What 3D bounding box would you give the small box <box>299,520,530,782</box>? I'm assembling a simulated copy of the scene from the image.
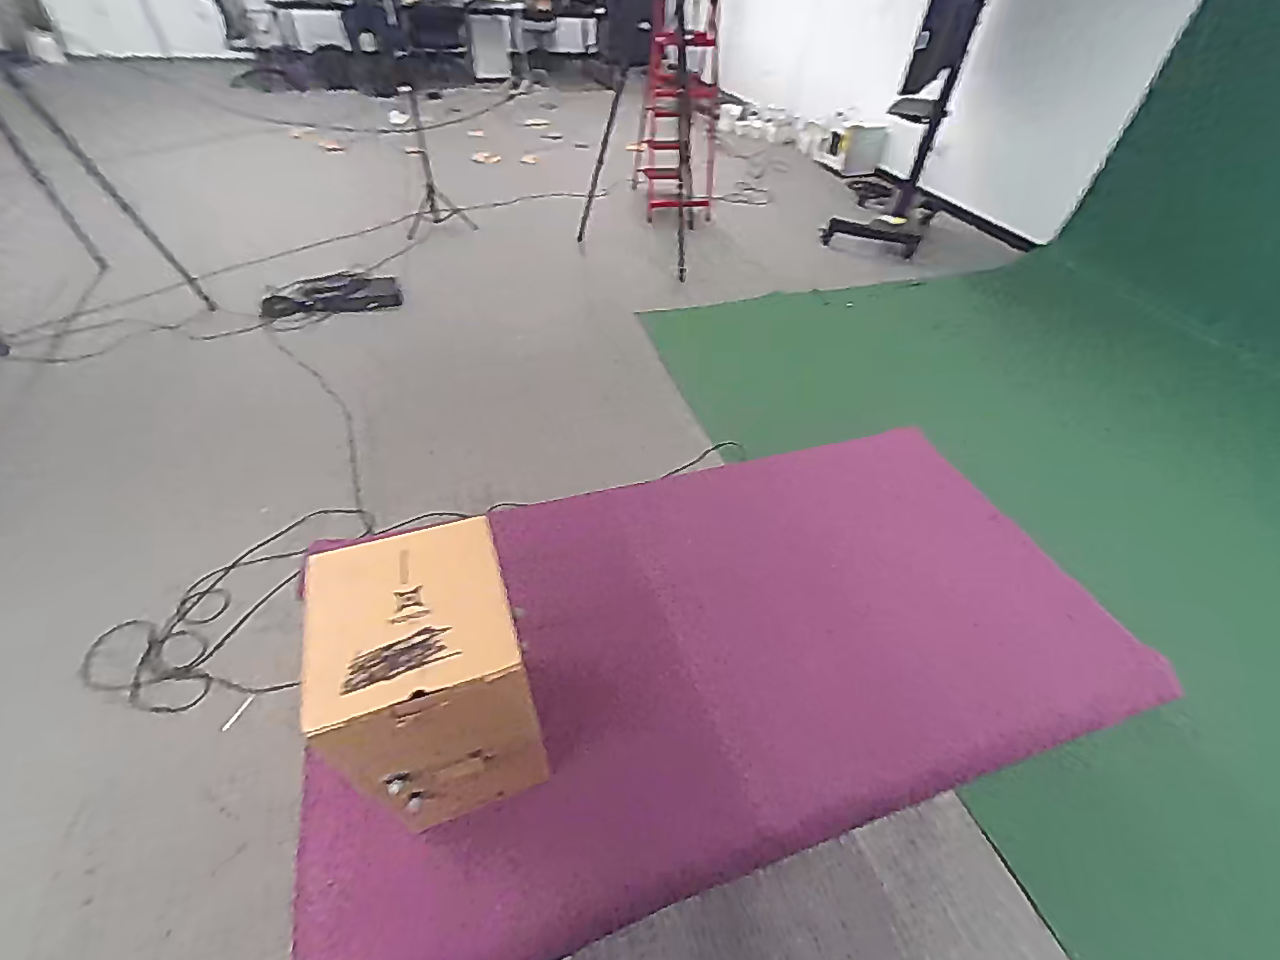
[{"bbox_3d":[-0.205,0.169,0.526,0.168,0.176,0.179,-10,48,-16],"label":"small box"}]
